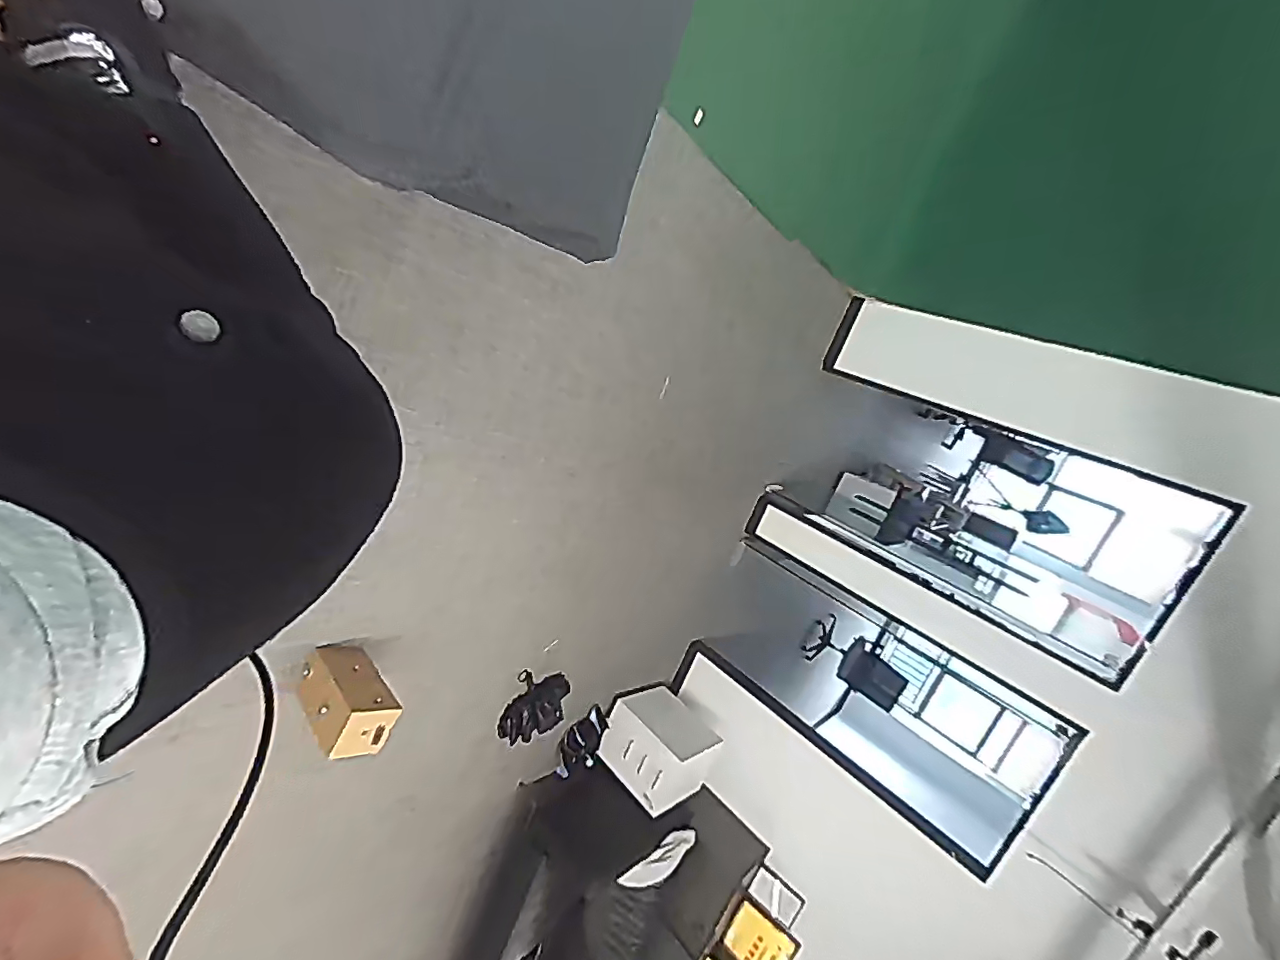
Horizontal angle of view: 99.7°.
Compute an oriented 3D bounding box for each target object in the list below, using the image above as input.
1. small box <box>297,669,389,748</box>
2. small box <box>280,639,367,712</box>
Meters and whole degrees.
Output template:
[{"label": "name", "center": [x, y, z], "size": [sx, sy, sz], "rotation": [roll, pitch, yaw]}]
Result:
[{"label": "small box", "center": [-0.956, 0.726, 1.739], "size": [0.179, 0.176, 0.168], "rotation": [27, 92, -55]}, {"label": "small box", "center": [-1.073, 0.656, 1.831], "size": [0.179, 0.176, 0.168], "rotation": [25, 94, -55]}]
